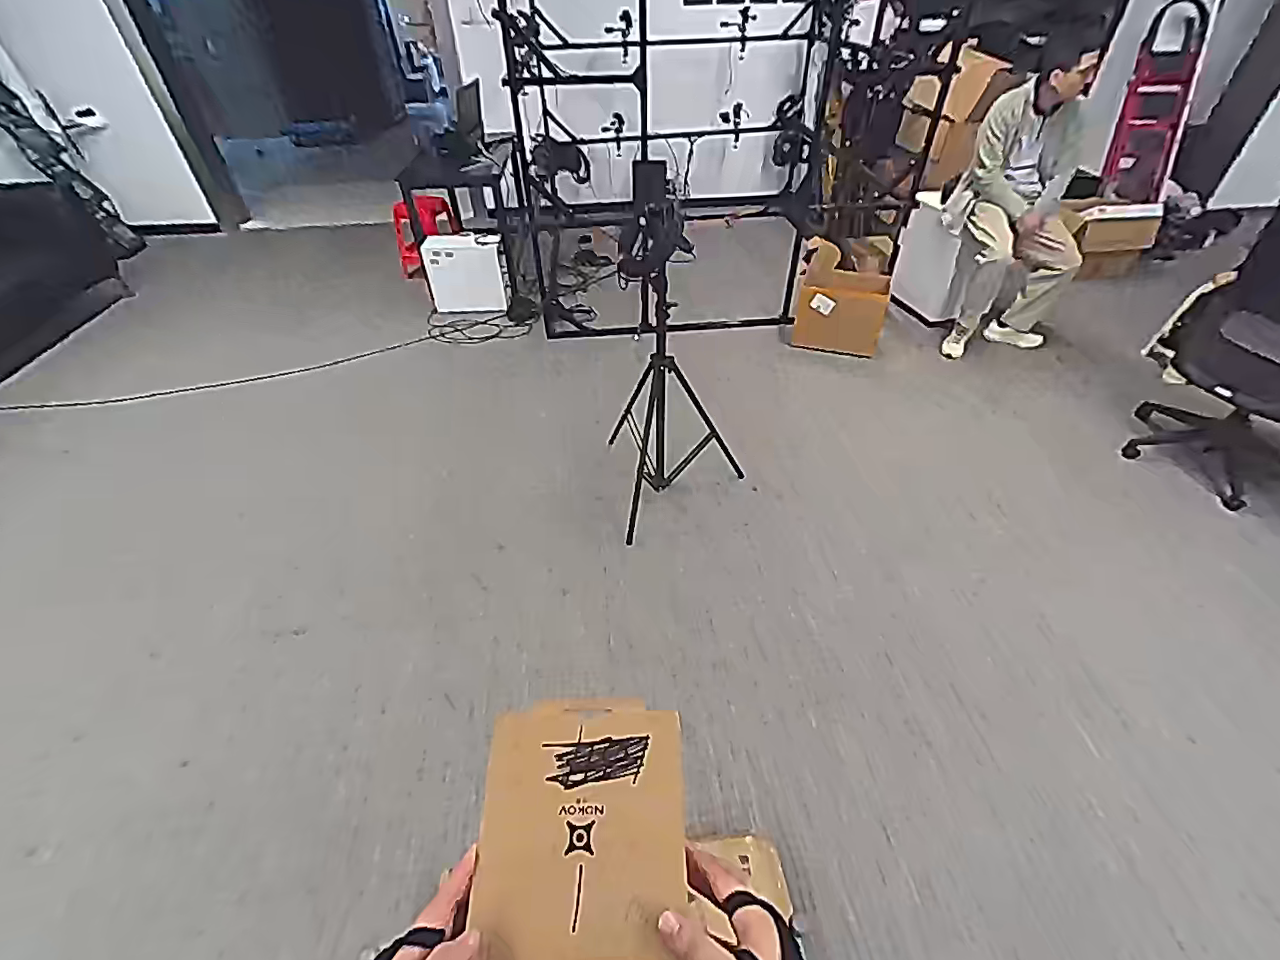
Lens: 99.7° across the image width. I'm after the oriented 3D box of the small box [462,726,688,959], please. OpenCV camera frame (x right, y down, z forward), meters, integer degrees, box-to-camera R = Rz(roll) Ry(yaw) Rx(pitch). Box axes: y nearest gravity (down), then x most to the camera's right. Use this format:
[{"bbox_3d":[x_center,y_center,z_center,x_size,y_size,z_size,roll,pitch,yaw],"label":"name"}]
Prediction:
[{"bbox_3d":[-0.046,0.354,0.500,0.168,0.176,0.179,-2,37,1],"label":"small box"}]
